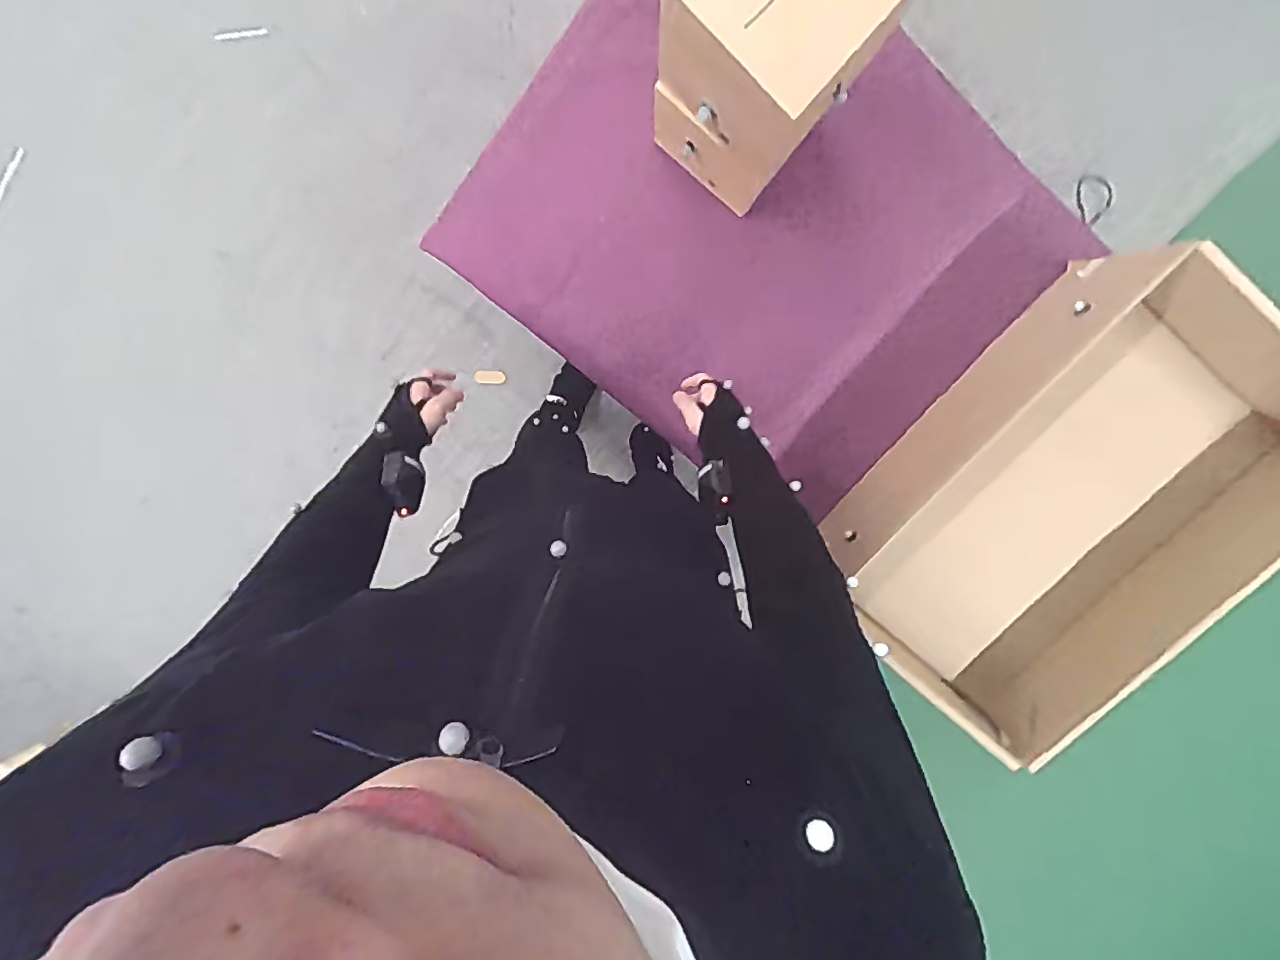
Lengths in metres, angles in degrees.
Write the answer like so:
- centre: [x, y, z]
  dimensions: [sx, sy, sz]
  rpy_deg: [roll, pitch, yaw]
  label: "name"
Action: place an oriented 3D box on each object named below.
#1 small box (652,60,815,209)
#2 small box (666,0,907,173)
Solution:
- centre: [0.133, -0.487, 0.693]
  dimensions: [0.168, 0.176, 0.179]
  rpy_deg: [38, 99, -6]
  label: "small box"
- centre: [0.136, -0.452, 0.532]
  dimensions: [0.168, 0.176, 0.179]
  rpy_deg: [43, 100, -7]
  label: "small box"
